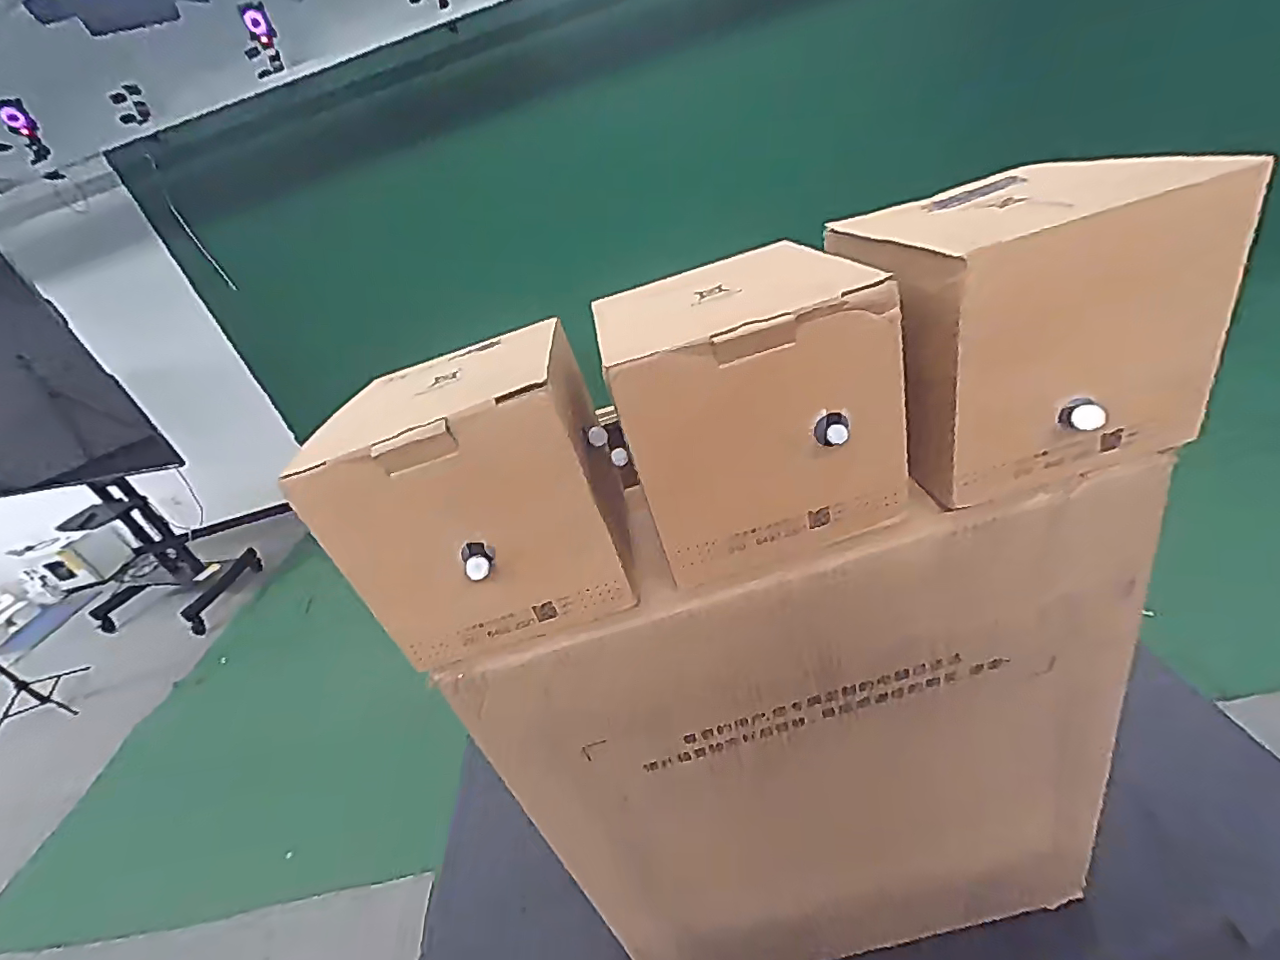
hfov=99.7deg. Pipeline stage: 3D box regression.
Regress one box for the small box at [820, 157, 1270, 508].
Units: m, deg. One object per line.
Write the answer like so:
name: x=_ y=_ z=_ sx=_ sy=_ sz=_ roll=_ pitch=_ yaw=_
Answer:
small box: x=0.243 y=-0.107 z=0.380 sx=0.168 sy=0.176 sz=0.179 roll=-17 pitch=31 yaw=3

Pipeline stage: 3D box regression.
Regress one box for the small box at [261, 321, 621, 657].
small box: x=-0.118 y=0.007 z=0.405 sx=0.168 sy=0.176 sz=0.179 roll=-18 pitch=30 yaw=4
